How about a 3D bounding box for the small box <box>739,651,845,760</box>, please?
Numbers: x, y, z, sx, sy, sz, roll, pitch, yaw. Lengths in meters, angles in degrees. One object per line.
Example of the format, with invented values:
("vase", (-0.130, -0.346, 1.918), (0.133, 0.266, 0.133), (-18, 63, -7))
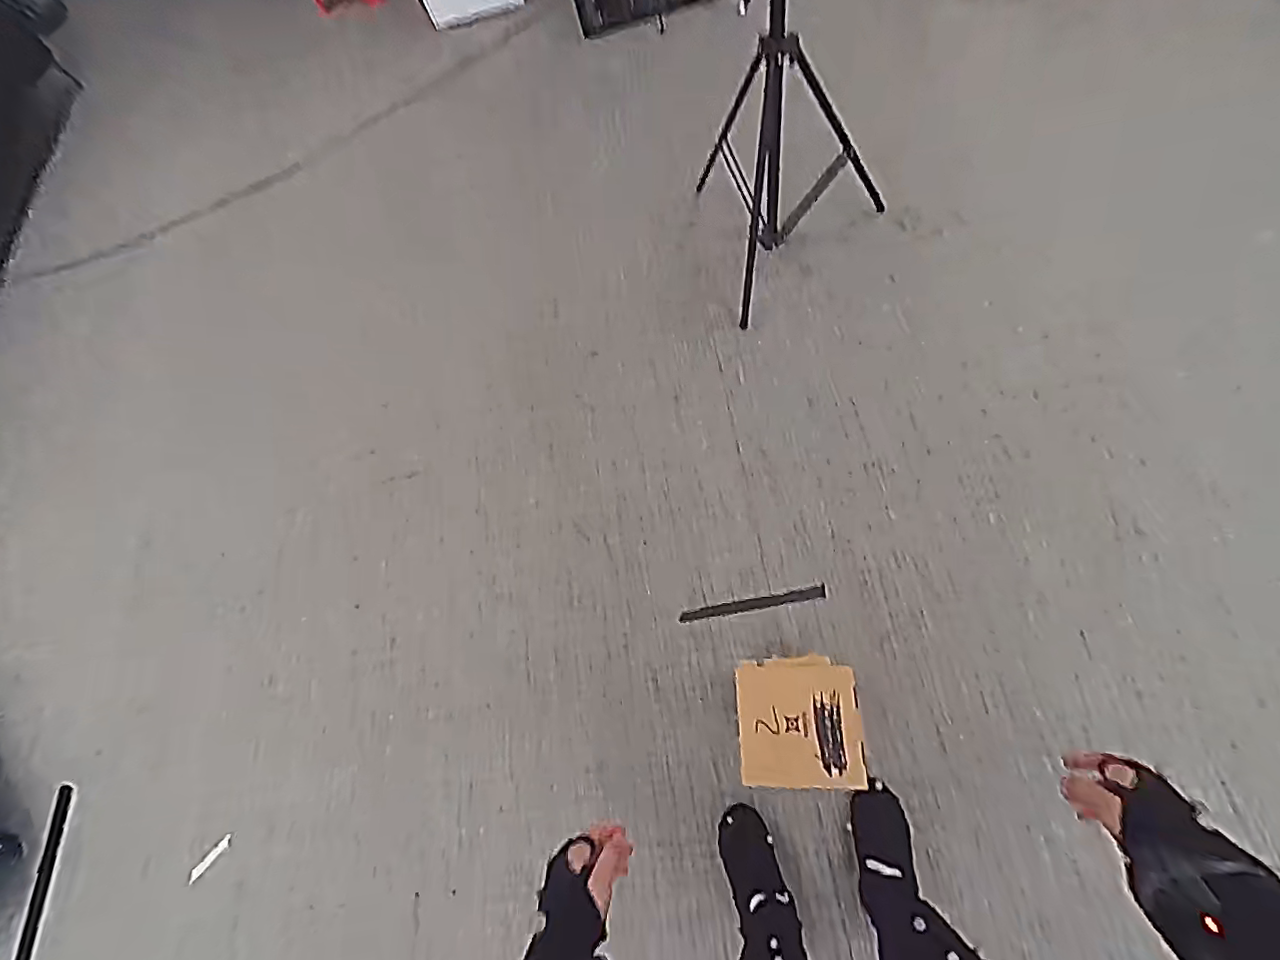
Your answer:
("small box", (0.278, 0.423, 1.023), (0.168, 0.176, 0.179), (-7, 69, 10))
